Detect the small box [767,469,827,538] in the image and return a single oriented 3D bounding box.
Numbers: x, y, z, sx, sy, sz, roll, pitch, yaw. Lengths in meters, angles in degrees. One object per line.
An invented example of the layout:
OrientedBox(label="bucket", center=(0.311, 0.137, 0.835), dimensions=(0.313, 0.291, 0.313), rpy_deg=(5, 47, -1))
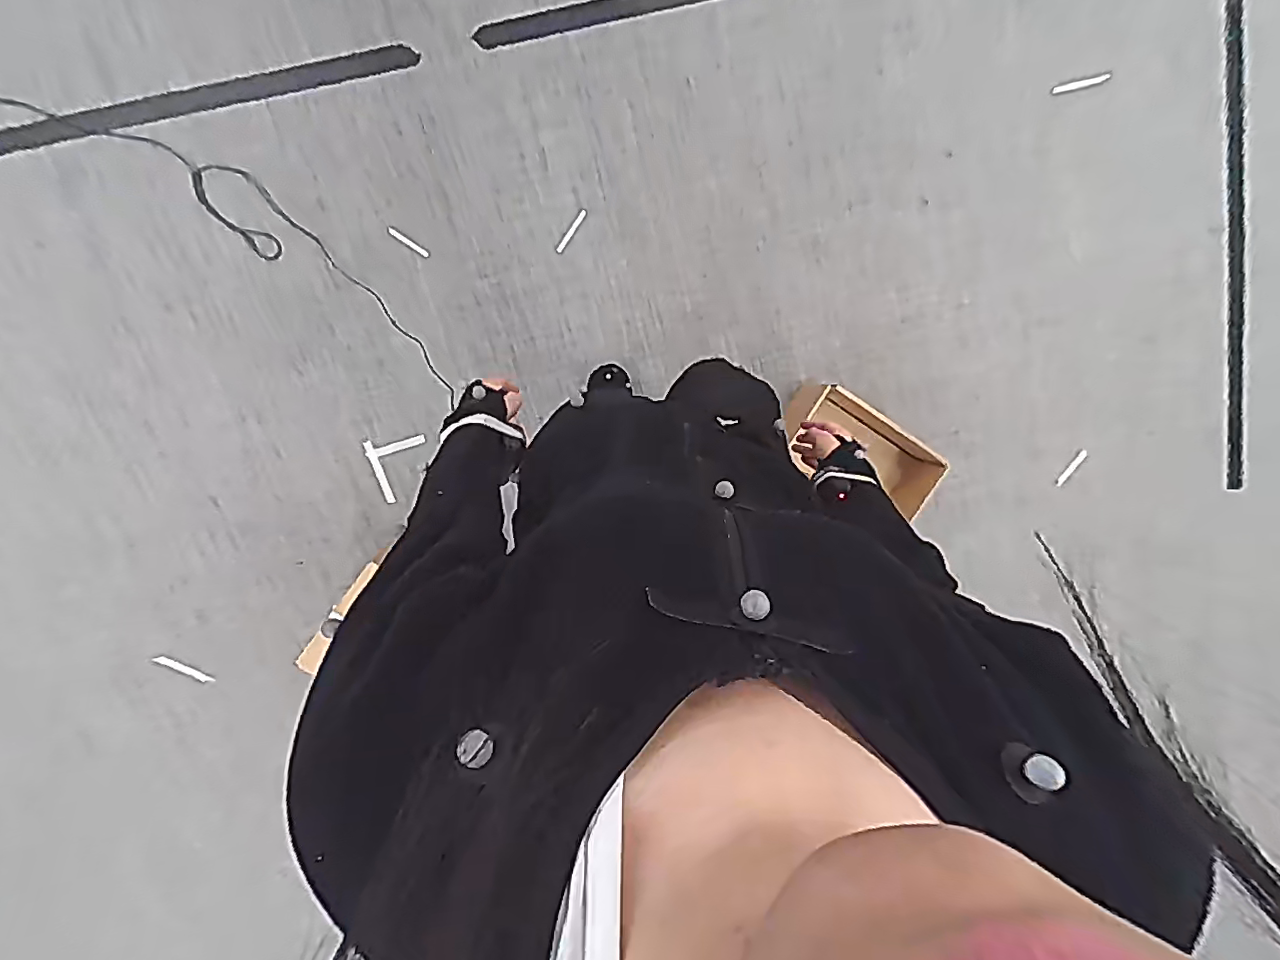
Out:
OrientedBox(label="small box", center=(0.470, 0.087, 1.439), dimensions=(0.179, 0.176, 0.168), rpy_deg=(30, 98, -10))

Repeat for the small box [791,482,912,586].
OrientedBox(label="small box", center=(0.489, 0.118, 1.281), dimensions=(0.179, 0.176, 0.168), rpy_deg=(26, 100, -11))
